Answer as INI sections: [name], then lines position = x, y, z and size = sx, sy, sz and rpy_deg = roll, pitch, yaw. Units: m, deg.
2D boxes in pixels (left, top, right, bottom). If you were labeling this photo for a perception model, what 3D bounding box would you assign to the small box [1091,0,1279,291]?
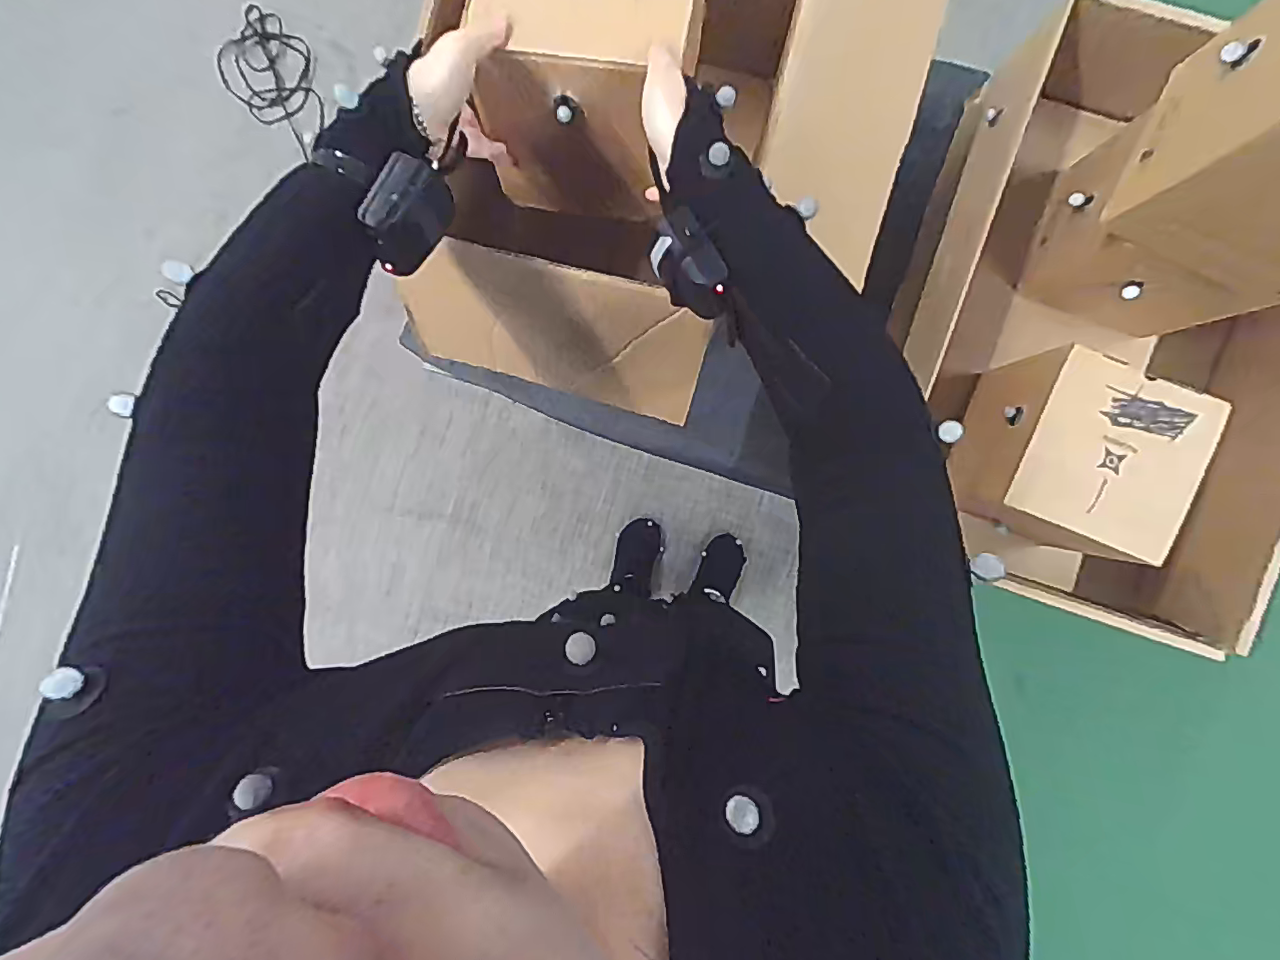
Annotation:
[small box]
position = 0.548, -0.284, 0.455
size = 0.179, 0.176, 0.168
rpy_deg = 26, 93, 0
